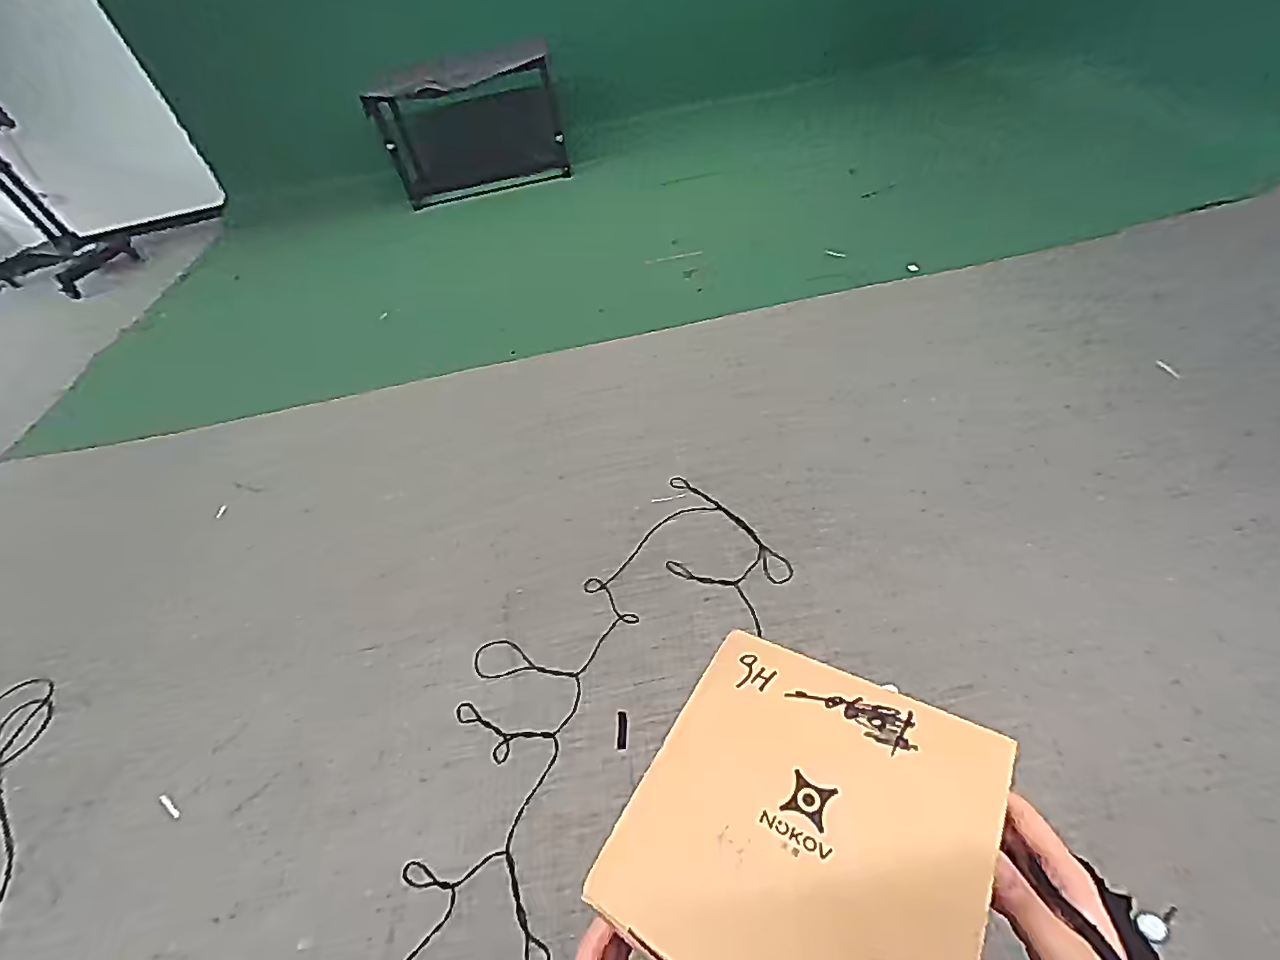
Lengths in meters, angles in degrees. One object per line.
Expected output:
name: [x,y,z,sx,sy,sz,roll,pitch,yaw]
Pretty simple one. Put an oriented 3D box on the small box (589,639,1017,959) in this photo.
small box: [0.102,0.239,0.328,0.168,0.176,0.179,16,48,34]
